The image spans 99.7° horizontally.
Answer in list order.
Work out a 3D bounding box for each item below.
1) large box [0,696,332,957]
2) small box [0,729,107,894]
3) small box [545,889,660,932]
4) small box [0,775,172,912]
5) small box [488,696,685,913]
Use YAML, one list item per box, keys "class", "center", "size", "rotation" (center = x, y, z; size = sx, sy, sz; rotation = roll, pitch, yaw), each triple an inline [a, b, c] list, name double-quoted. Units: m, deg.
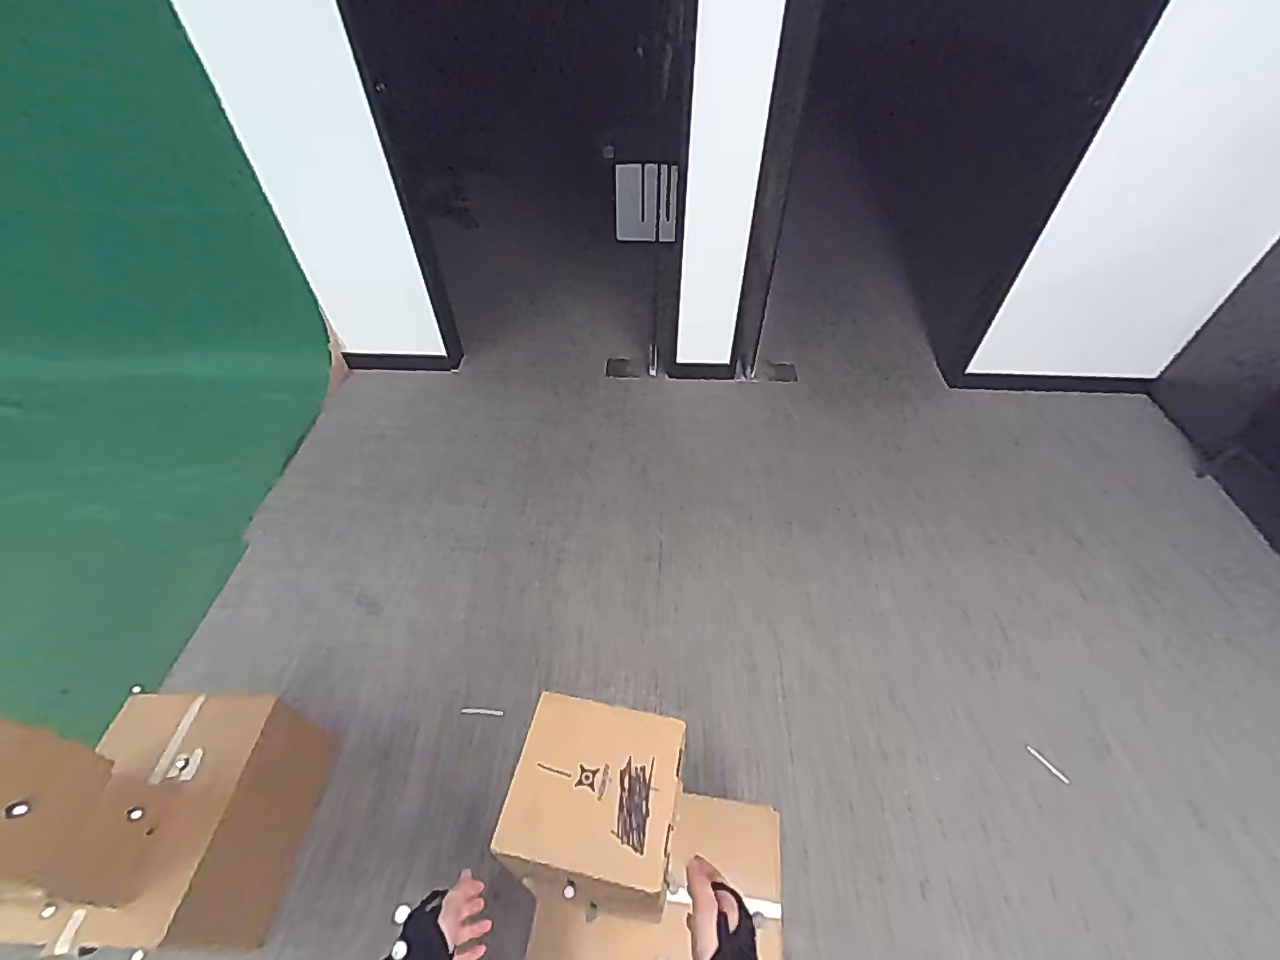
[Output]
- class: "large box"
  center: [-0.917, 0.704, 1.108]
  size: [0.320, 0.320, 0.408]
  rotation: [2, 47, 1]
- class: "small box"
  center: [-0.933, 0.474, 0.765]
  size: [0.168, 0.176, 0.179]
  rotation: [-2, 47, -3]
- class: "small box"
  center: [-0.044, 0.607, 0.878]
  size: [0.168, 0.176, 0.179]
  rotation: [7, 46, 5]
- class: "small box"
  center: [-0.935, 0.590, 0.881]
  size: [0.179, 0.176, 0.168]
  rotation: [0, 47, 1]
- class: "small box"
  center: [-0.050, 0.383, 0.636]
  size: [0.179, 0.176, 0.168]
  rotation: [9, 46, 9]
